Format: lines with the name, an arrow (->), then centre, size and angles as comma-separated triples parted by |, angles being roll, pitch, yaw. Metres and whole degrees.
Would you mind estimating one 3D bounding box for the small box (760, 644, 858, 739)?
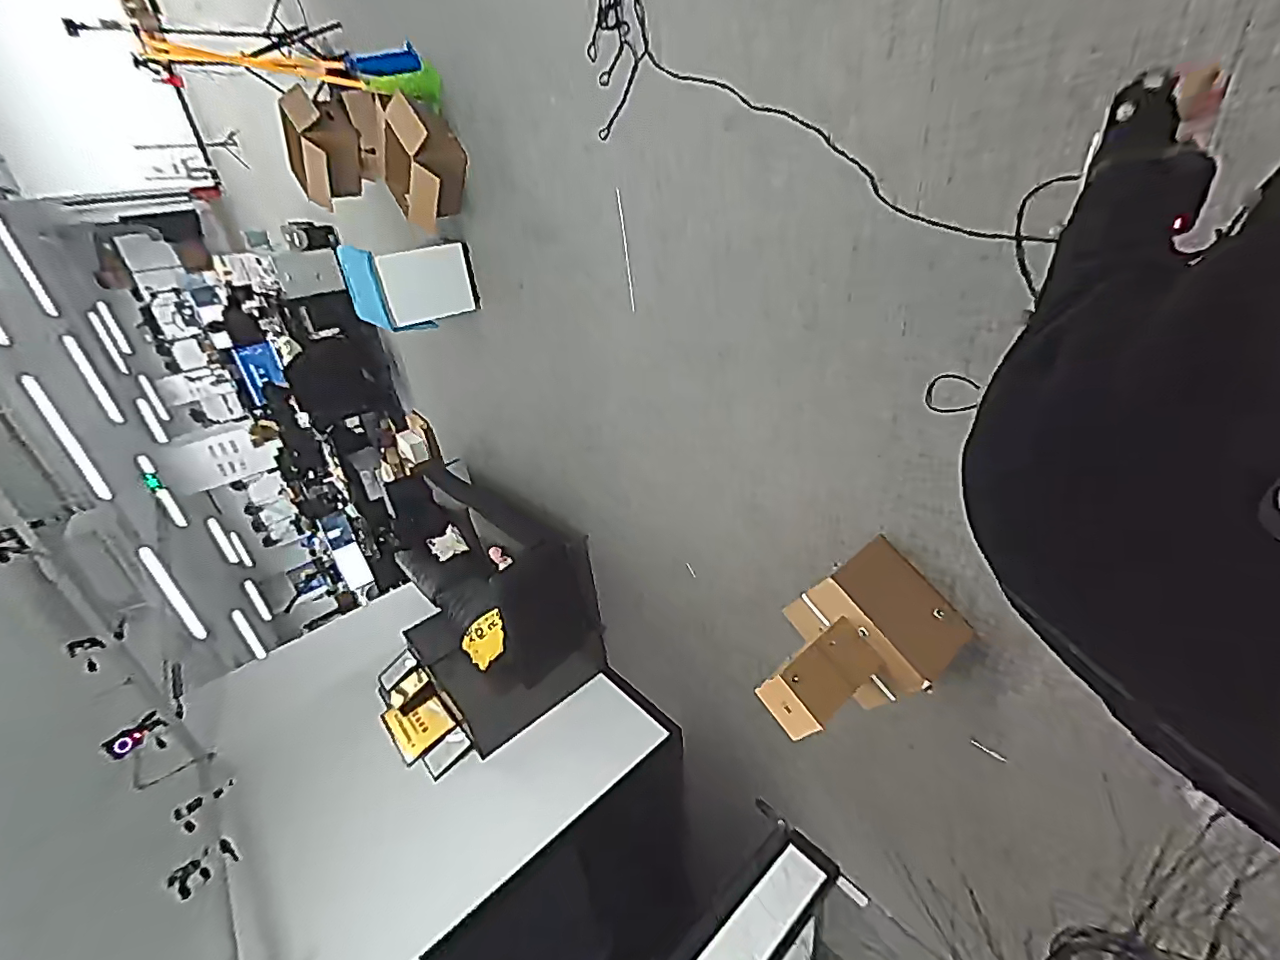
small box -> 0.494, 0.615, 1.577 | 0.179, 0.176, 0.168 | 51, 146, 21
